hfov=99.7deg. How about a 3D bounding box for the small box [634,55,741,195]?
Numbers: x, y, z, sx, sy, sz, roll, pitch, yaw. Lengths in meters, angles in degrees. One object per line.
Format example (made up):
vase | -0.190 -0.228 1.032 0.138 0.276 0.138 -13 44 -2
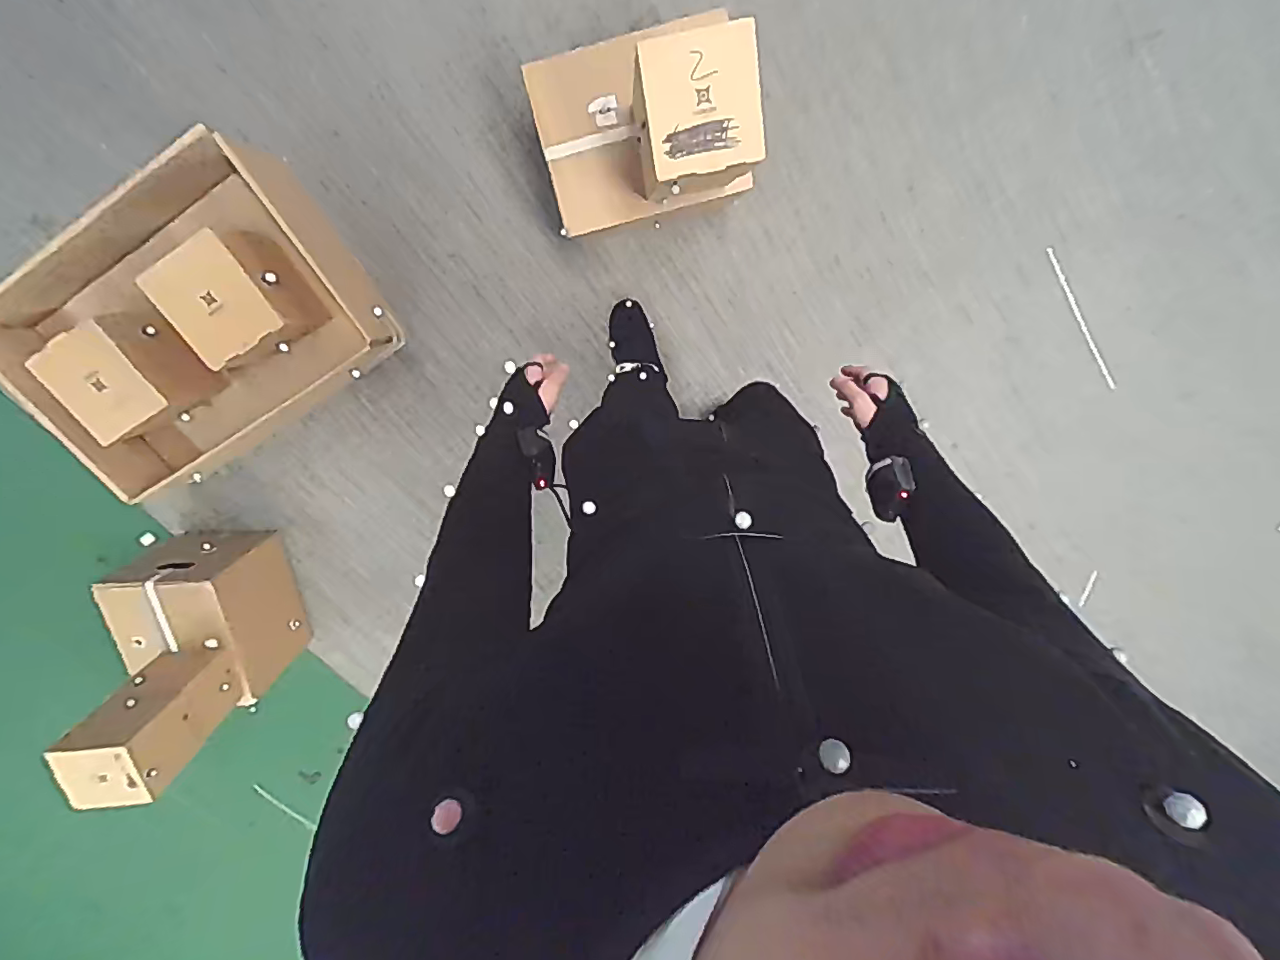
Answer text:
small box | 0.083 -0.633 0.988 0.168 0.176 0.179 -10 112 2

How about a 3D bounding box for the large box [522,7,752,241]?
large box | 0.001 -0.748 1.204 0.408 0.320 0.320 -13 110 4

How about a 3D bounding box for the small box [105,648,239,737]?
small box | -1.193 0.554 1.393 0.179 0.176 0.168 -3 111 -2

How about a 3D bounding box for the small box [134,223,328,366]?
small box | -0.711 -0.328 0.963 0.168 0.176 0.179 -28 111 8

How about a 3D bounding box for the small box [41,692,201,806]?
small box | -1.175 0.611 1.240 0.179 0.176 0.168 -3 111 -1
